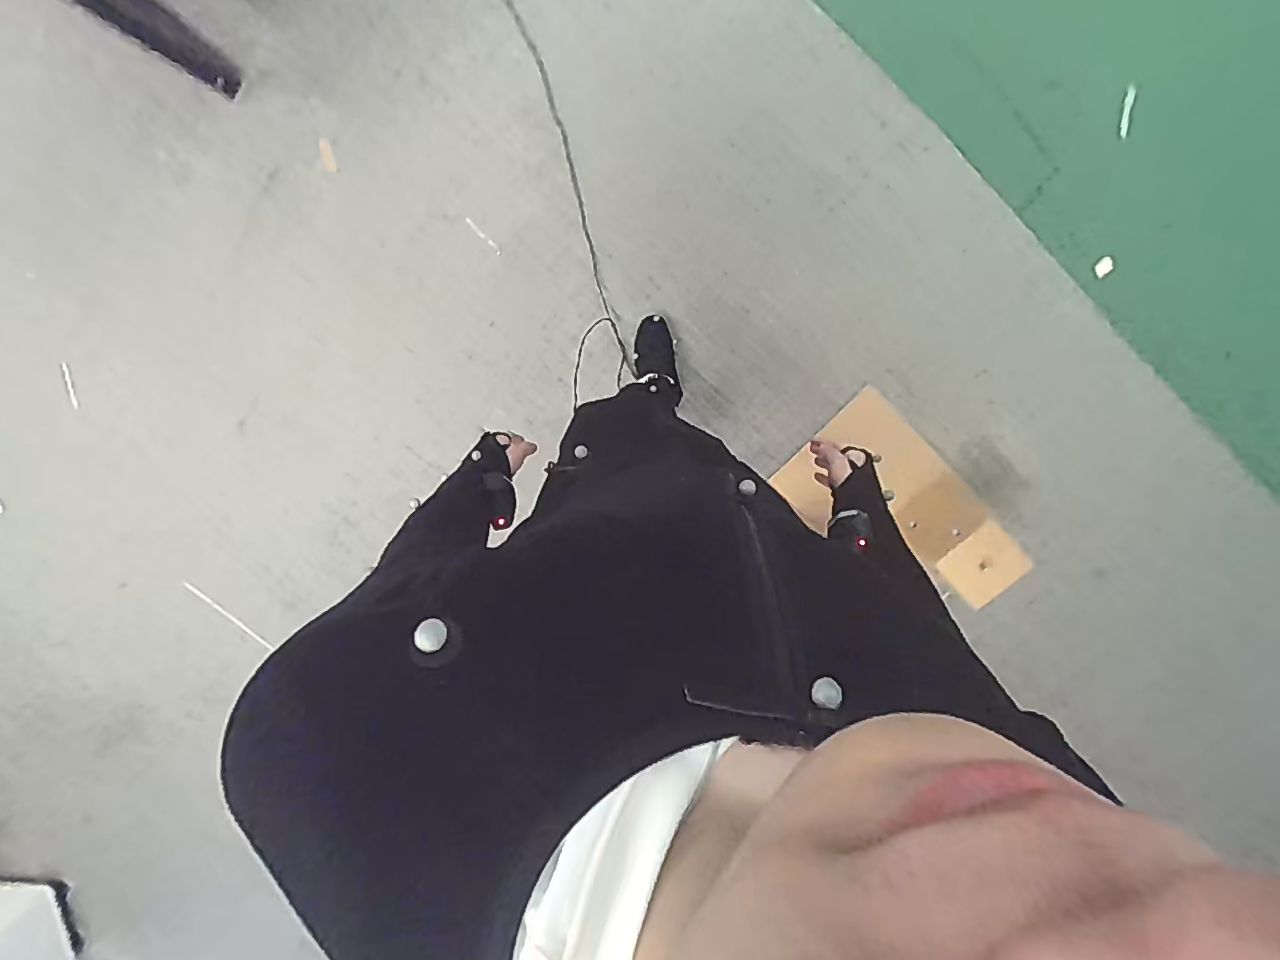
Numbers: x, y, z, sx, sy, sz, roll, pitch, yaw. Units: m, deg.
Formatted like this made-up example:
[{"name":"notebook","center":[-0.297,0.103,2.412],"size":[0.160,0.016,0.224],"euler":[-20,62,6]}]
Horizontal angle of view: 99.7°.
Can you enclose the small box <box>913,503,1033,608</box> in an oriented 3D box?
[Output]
[{"name":"small box","center":[0.831,0.186,1.378],"size":[0.179,0.176,0.168],"euler":[-44,96,10]}]

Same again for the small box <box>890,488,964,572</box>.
[{"name":"small box","center":[0.843,0.148,1.534],"size":[0.179,0.176,0.168],"euler":[-44,97,10]}]
